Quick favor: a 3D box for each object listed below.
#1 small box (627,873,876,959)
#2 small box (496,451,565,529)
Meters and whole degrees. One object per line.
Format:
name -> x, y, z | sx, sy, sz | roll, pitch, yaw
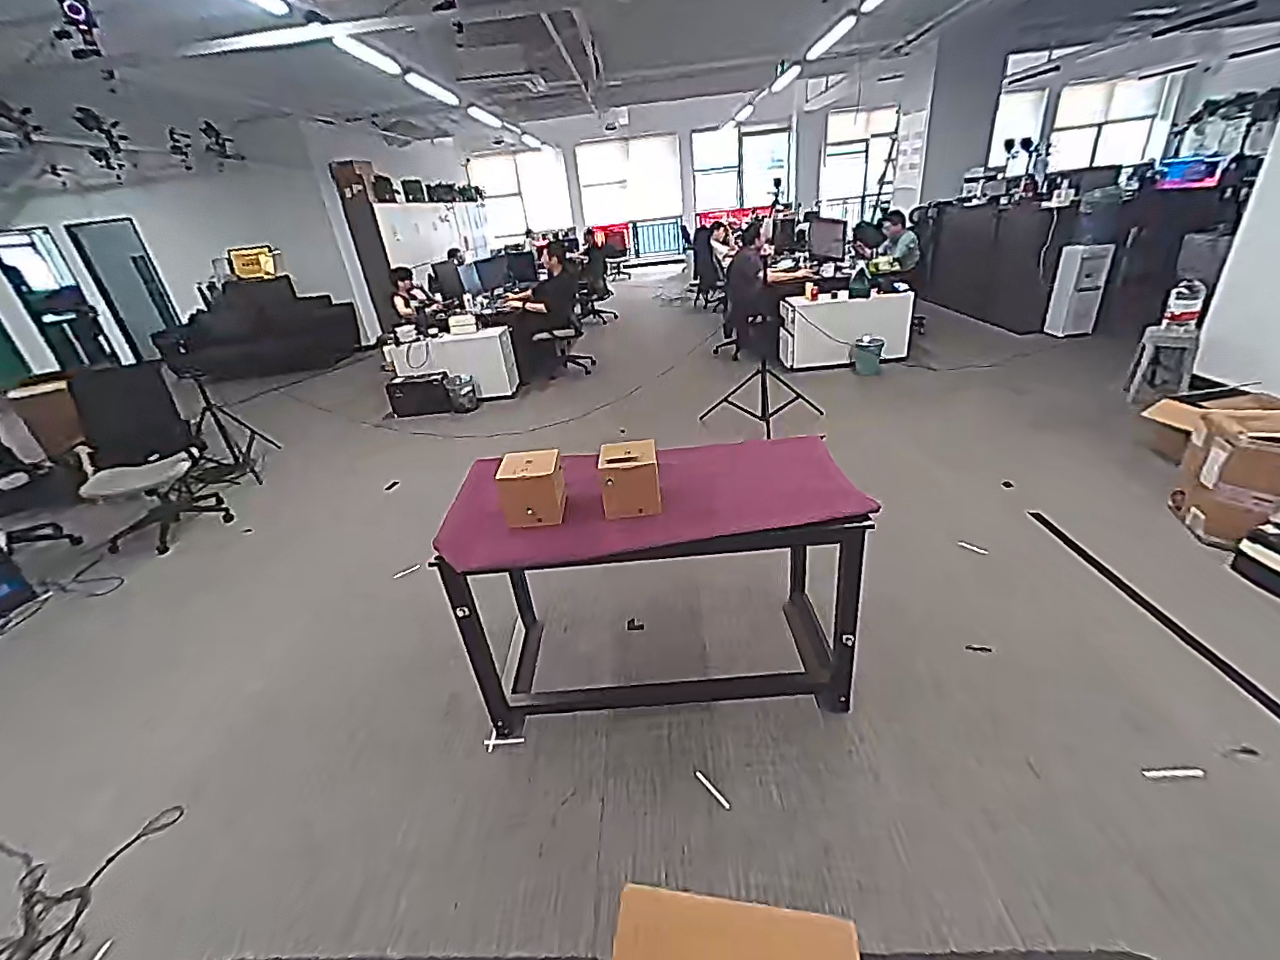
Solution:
small box -> 0.067, 0.408, 0.358 | 0.168, 0.176, 0.179 | 3, 33, 8
small box -> -0.320, 0.029, 1.618 | 0.168, 0.176, 0.179 | -5, 27, 0
